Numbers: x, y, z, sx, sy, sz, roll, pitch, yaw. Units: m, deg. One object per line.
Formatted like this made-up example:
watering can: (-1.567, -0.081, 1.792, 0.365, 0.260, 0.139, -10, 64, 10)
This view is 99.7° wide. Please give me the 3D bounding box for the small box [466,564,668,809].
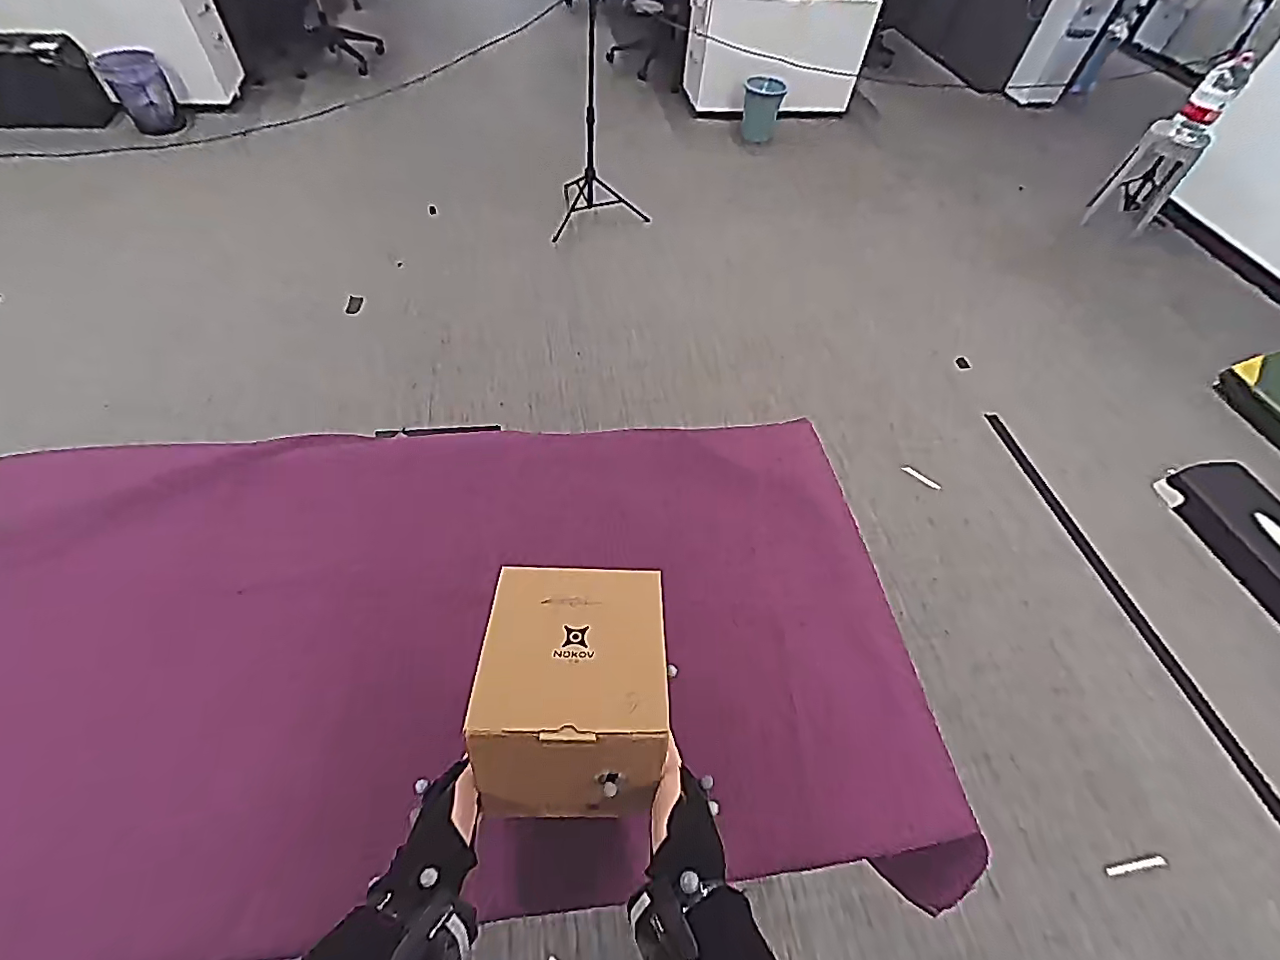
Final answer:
small box: (-0.062, 0.208, 0.545, 0.168, 0.176, 0.179, 3, 38, -3)
